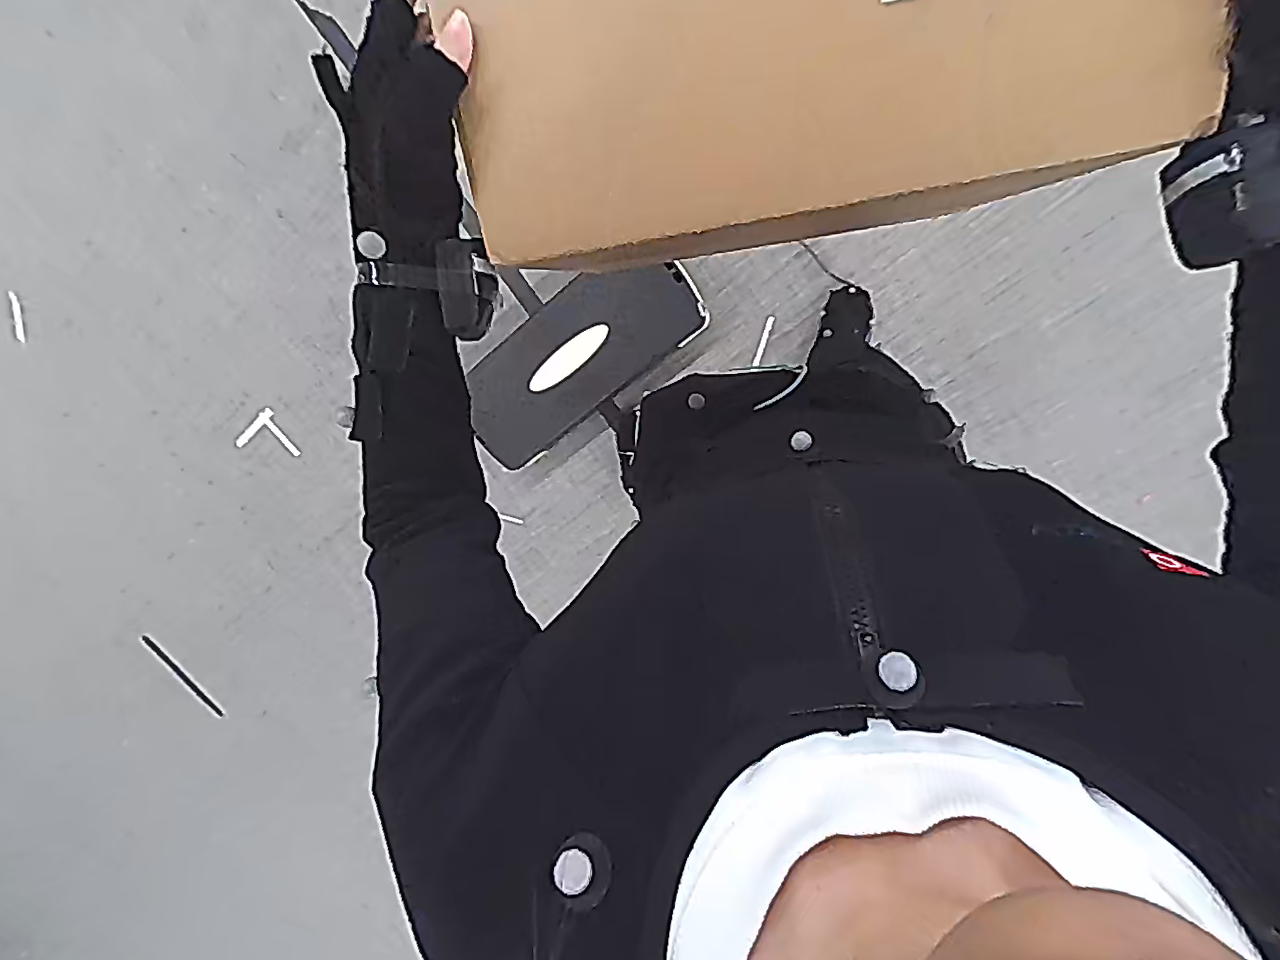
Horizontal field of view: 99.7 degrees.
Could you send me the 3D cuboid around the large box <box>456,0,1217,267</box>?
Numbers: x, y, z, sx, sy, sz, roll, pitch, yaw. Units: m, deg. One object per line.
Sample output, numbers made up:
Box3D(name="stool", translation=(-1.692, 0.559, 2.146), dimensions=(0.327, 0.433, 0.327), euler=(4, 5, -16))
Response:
Box3D(name="large box", translation=(0.100, -0.367, 0.417), dimensions=(0.408, 0.320, 0.320), euler=(-7, 109, 10))
